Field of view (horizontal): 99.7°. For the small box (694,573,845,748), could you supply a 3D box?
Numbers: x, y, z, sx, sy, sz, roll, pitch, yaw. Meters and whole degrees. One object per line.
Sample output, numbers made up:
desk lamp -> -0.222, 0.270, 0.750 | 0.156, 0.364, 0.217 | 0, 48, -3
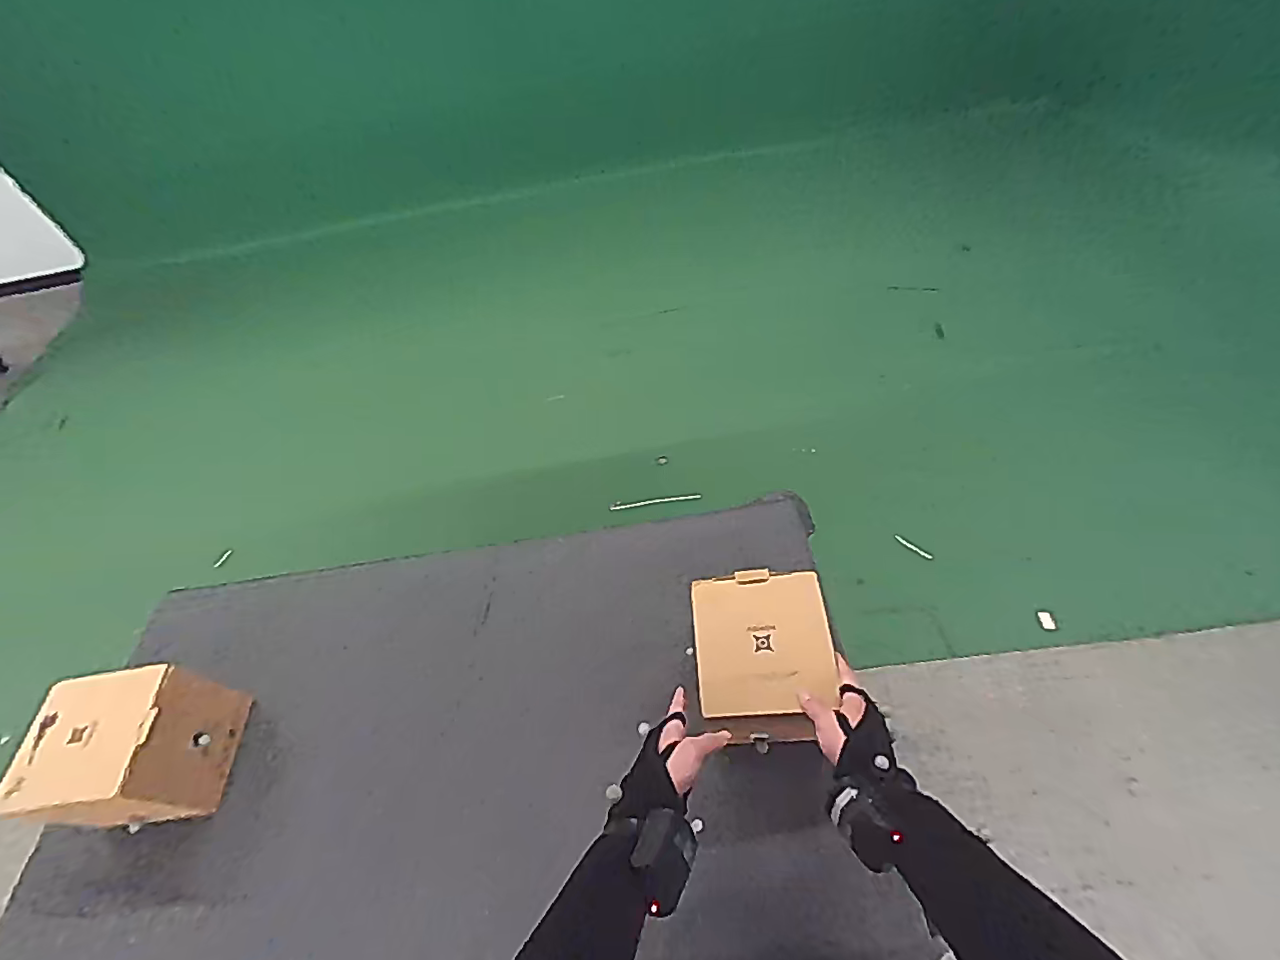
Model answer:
small box -> 0.161, 0.241, 0.714 | 0.168, 0.176, 0.179 | -5, 54, 9

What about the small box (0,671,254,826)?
small box -> -0.713, 0.390, 0.781 | 0.179, 0.176, 0.168 | -8, 53, 2
